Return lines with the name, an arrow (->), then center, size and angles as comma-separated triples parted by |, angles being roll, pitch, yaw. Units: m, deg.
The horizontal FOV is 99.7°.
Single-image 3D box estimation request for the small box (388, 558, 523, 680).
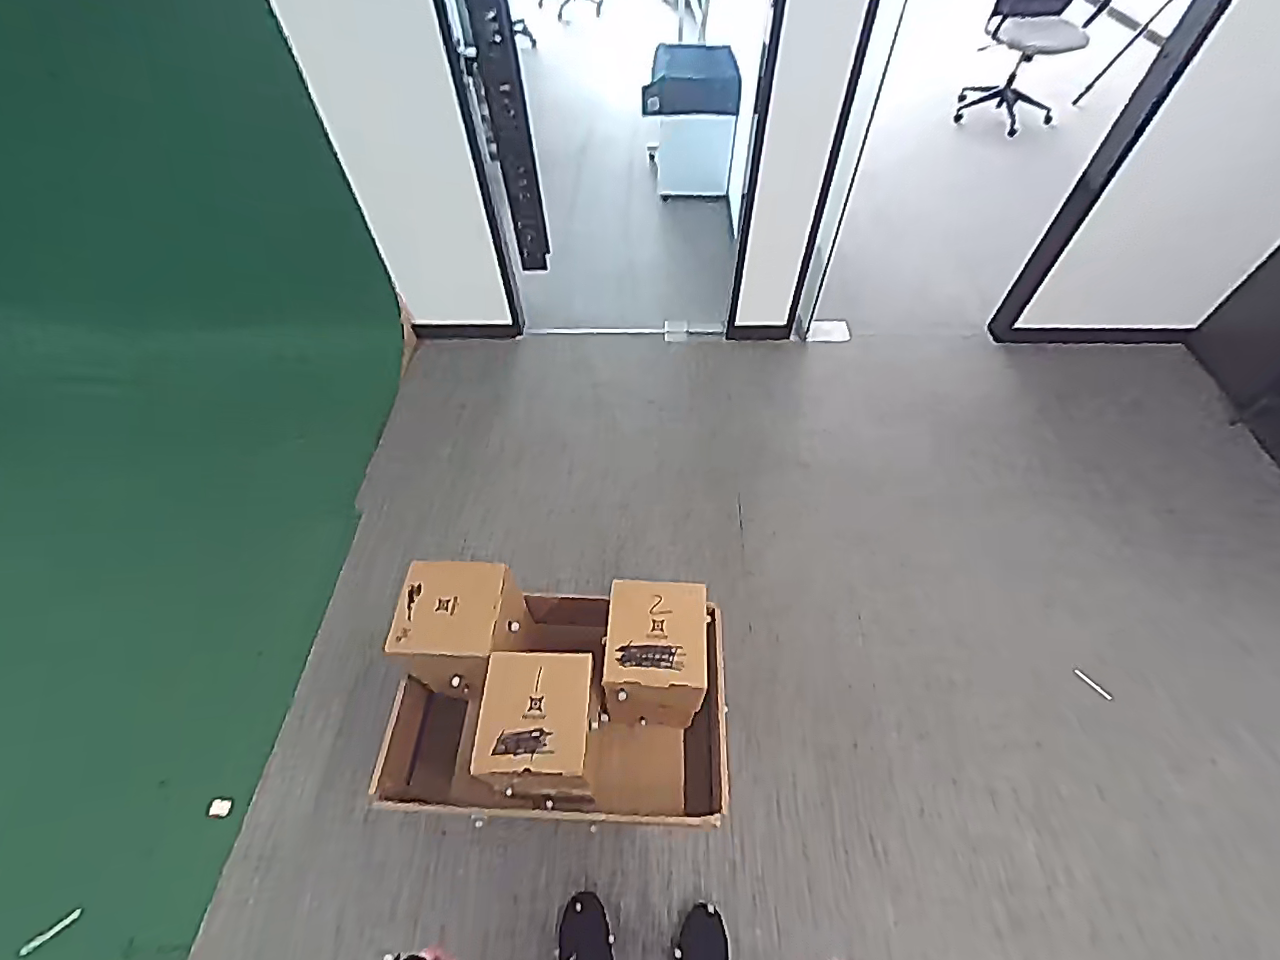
small box -> -0.319, 0.256, 0.982 | 0.179, 0.176, 0.168 | 3, 55, 1
